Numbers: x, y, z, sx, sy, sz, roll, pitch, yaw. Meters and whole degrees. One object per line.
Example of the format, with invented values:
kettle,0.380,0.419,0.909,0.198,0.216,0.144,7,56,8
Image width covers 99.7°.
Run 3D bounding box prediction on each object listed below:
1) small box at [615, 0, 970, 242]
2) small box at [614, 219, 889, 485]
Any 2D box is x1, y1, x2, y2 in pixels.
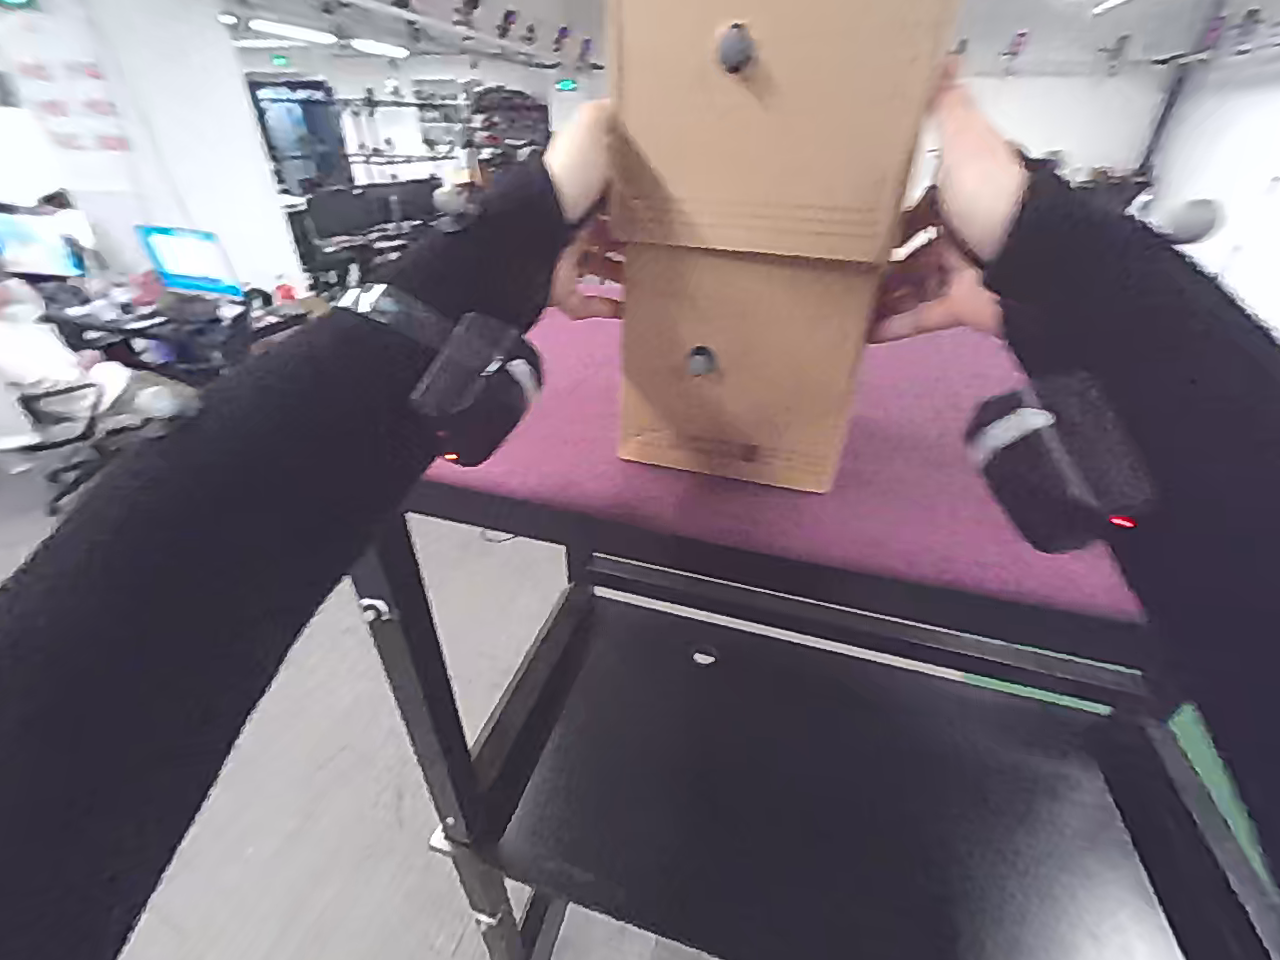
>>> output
small box,0.092,-0.246,0.328,0.179,0.176,0.168,14,33,18
small box,0.085,-0.115,0.428,0.168,0.176,0.179,12,32,14
